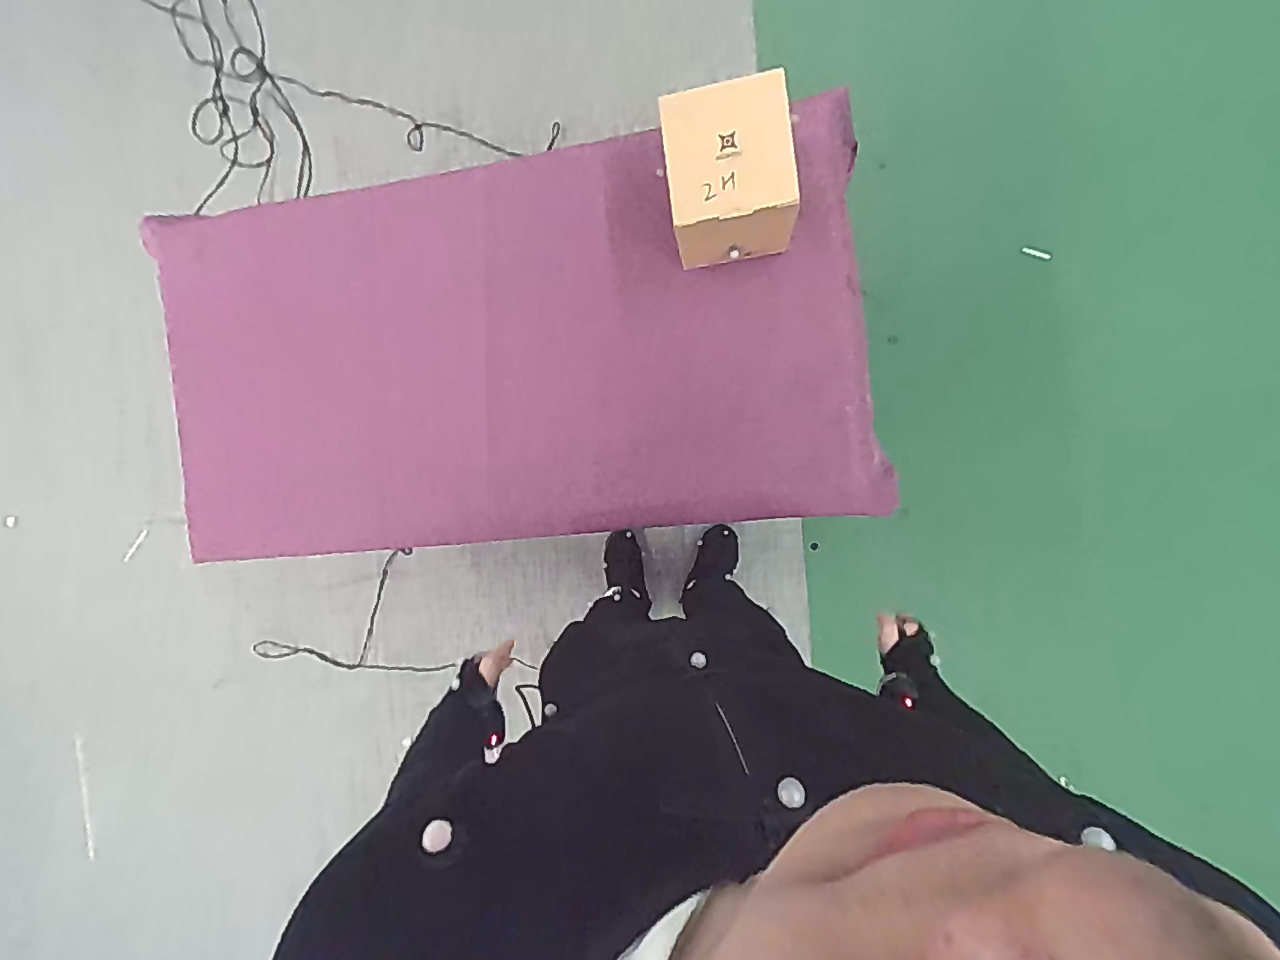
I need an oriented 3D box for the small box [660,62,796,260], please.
[{"bbox_3d":[0.128,-0.447,0.787,0.168,0.176,0.179,-6,92,11],"label":"small box"}]
